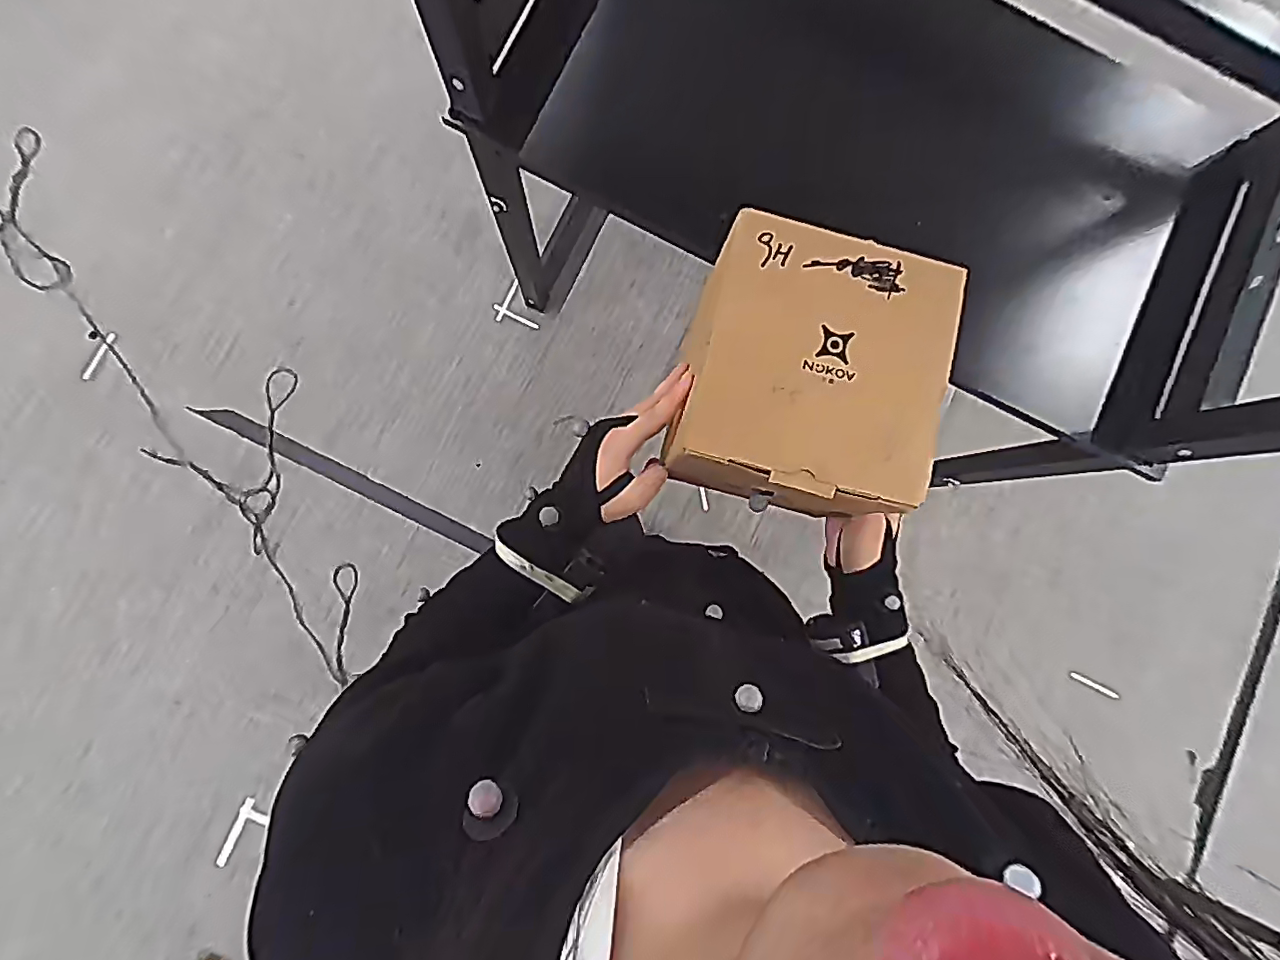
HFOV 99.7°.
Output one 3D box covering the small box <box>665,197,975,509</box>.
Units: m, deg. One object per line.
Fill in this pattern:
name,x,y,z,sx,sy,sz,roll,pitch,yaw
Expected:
small box,0.122,-0.079,0.434,0.168,0.176,0.179,14,85,-4
